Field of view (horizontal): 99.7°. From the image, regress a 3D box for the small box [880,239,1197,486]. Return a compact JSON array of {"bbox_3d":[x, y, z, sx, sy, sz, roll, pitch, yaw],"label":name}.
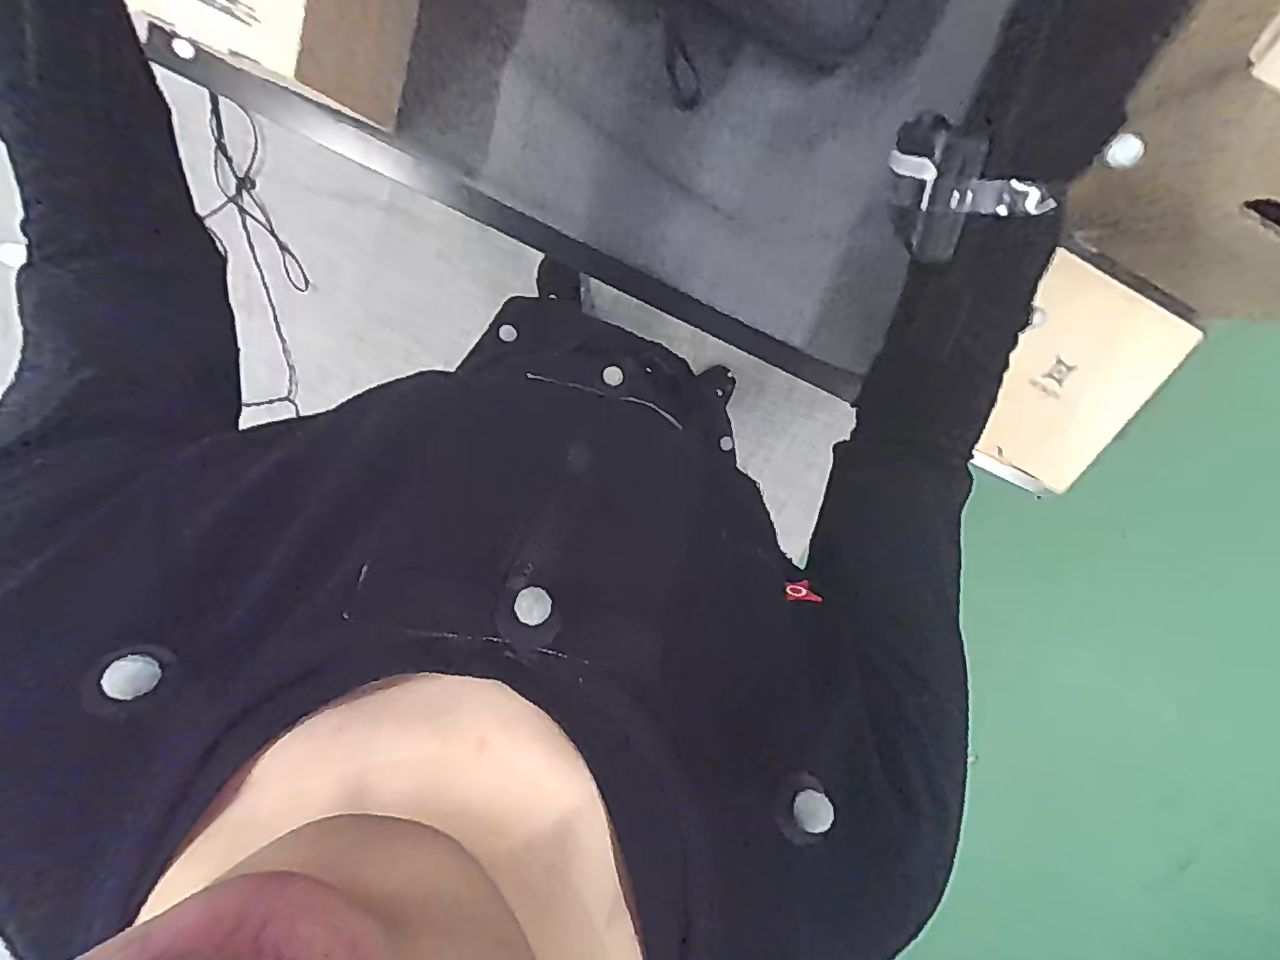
[{"bbox_3d":[0.389,-0.128,0.572,0.168,0.176,0.179,28,111,-5],"label":"small box"}]
